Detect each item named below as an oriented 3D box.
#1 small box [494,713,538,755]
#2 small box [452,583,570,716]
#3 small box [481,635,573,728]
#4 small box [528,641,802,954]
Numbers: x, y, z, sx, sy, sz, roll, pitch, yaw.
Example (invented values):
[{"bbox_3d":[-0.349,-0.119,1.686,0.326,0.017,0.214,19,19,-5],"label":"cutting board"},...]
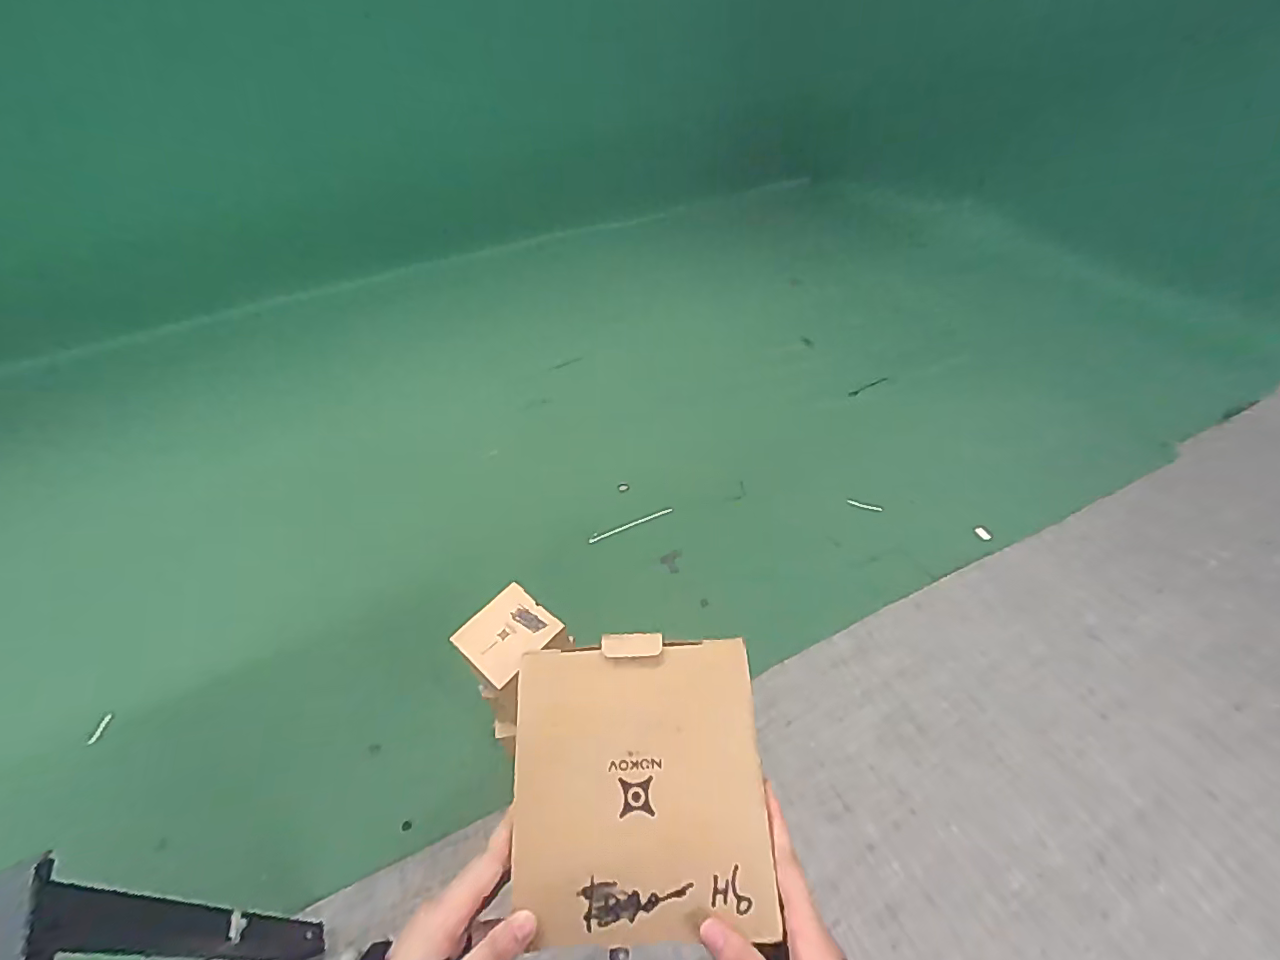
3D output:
[{"bbox_3d":[-0.270,0.588,1.387,0.168,0.176,0.179,-8,47,-5],"label":"small box"},{"bbox_3d":[-0.263,0.361,1.151,0.168,0.176,0.179,32,57,28],"label":"small box"},{"bbox_3d":[-0.248,0.470,1.273,0.168,0.176,0.179,8,47,9],"label":"small box"},{"bbox_3d":[0.016,0.231,0.425,0.168,0.176,0.179,-4,66,2],"label":"small box"}]
